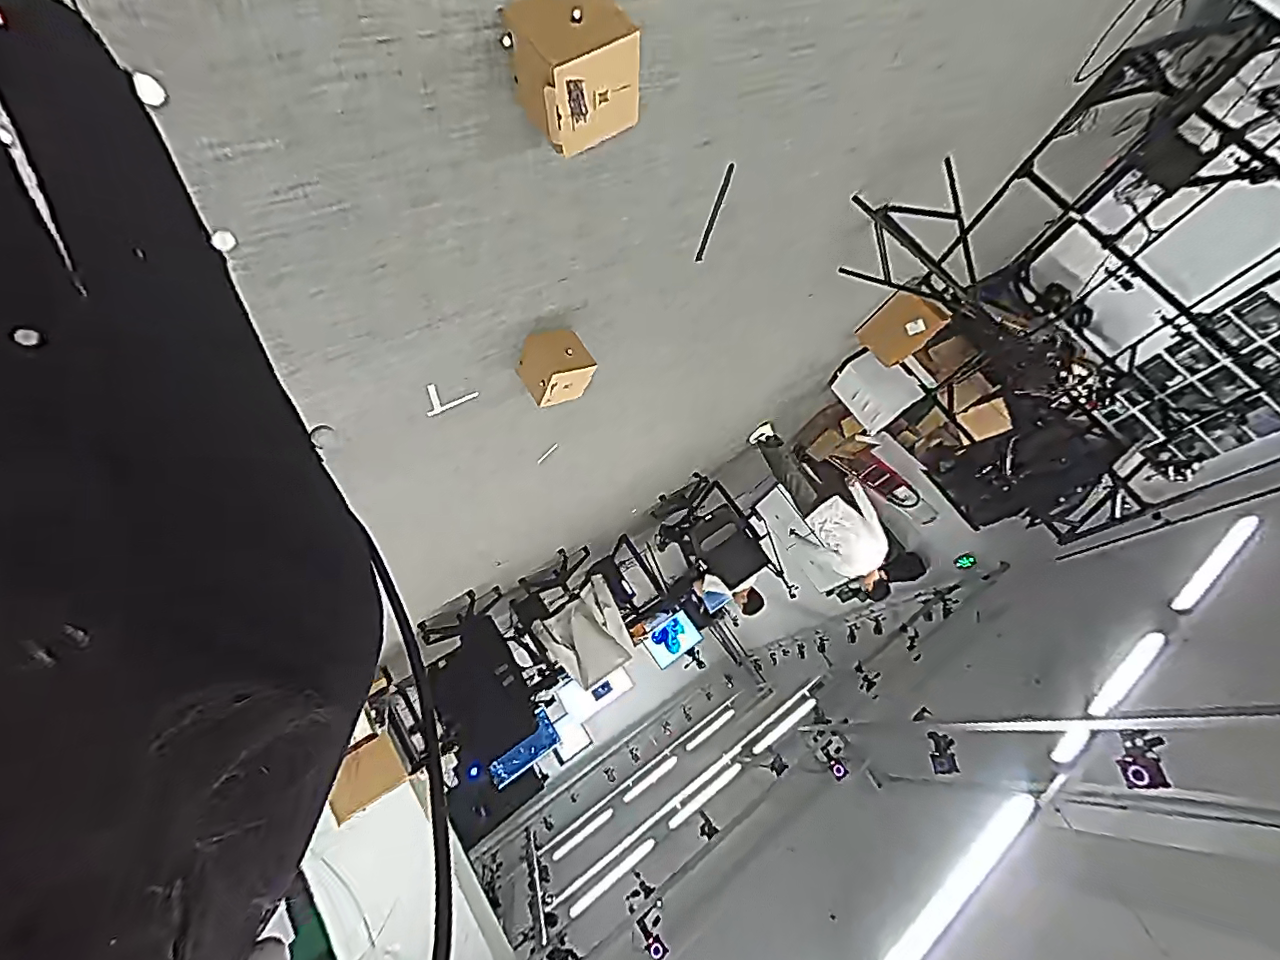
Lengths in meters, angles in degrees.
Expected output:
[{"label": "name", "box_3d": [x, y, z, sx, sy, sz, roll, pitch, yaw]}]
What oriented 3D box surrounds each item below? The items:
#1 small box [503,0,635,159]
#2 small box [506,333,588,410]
[{"label": "small box", "box_3d": [-0.129, -0.732, 0.973, 0.179, 0.176, 0.168, -32, 165, -13]}, {"label": "small box", "box_3d": [-0.304, -0.359, 1.756, 0.179, 0.176, 0.168, -23, 161, -39]}]
